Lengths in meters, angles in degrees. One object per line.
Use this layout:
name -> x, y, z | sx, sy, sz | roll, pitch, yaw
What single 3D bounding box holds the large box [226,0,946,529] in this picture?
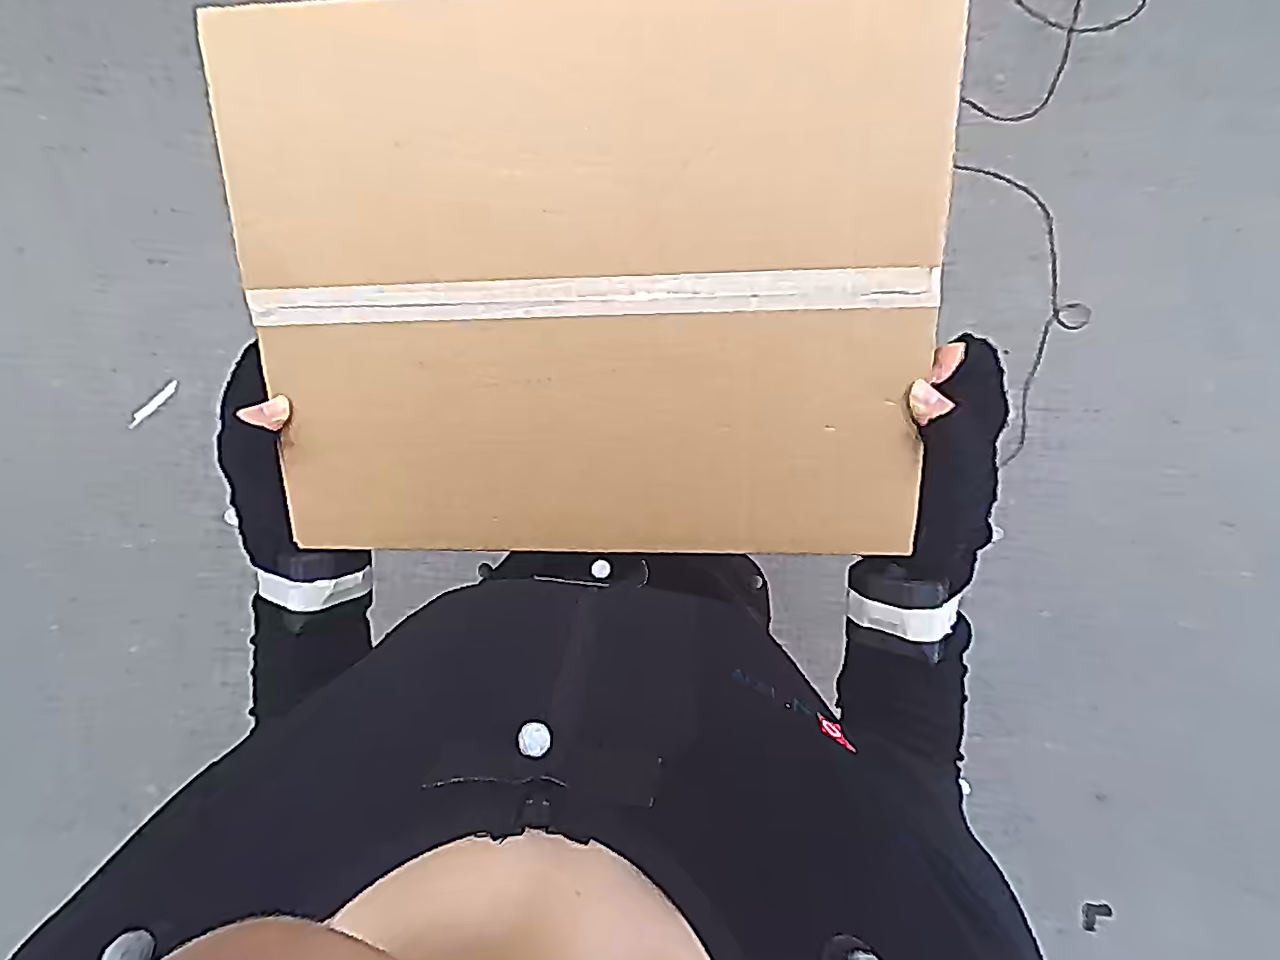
large box -> -0.026, -0.153, 0.469 | 0.408, 0.320, 0.320 | 0, 105, 4
